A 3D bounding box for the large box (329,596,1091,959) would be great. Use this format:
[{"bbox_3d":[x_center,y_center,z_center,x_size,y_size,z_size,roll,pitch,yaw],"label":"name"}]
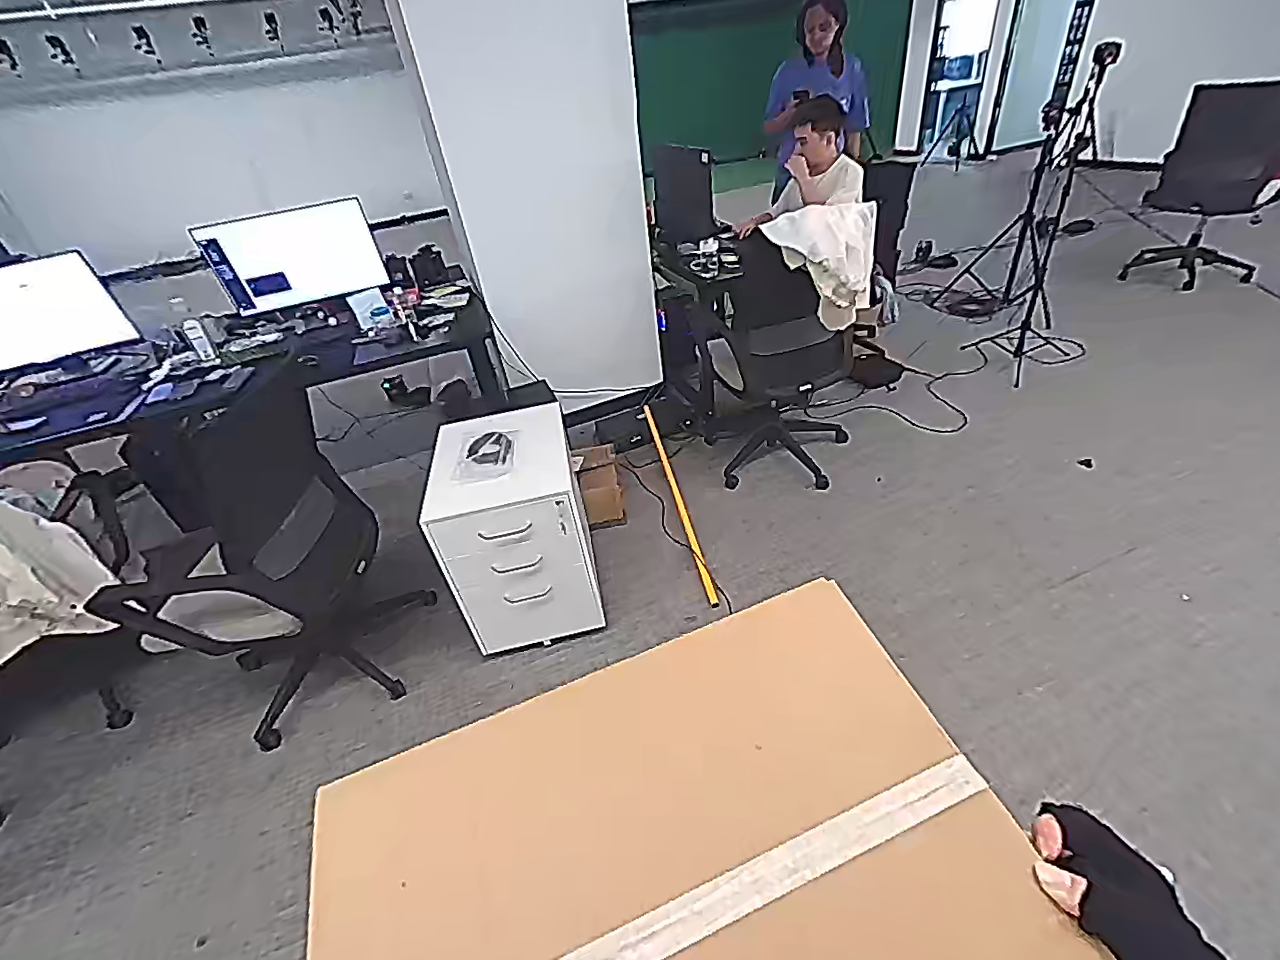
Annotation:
[{"bbox_3d":[0.042,0.359,0.419,0.408,0.320,0.320,-21,47,-8],"label":"large box"}]
